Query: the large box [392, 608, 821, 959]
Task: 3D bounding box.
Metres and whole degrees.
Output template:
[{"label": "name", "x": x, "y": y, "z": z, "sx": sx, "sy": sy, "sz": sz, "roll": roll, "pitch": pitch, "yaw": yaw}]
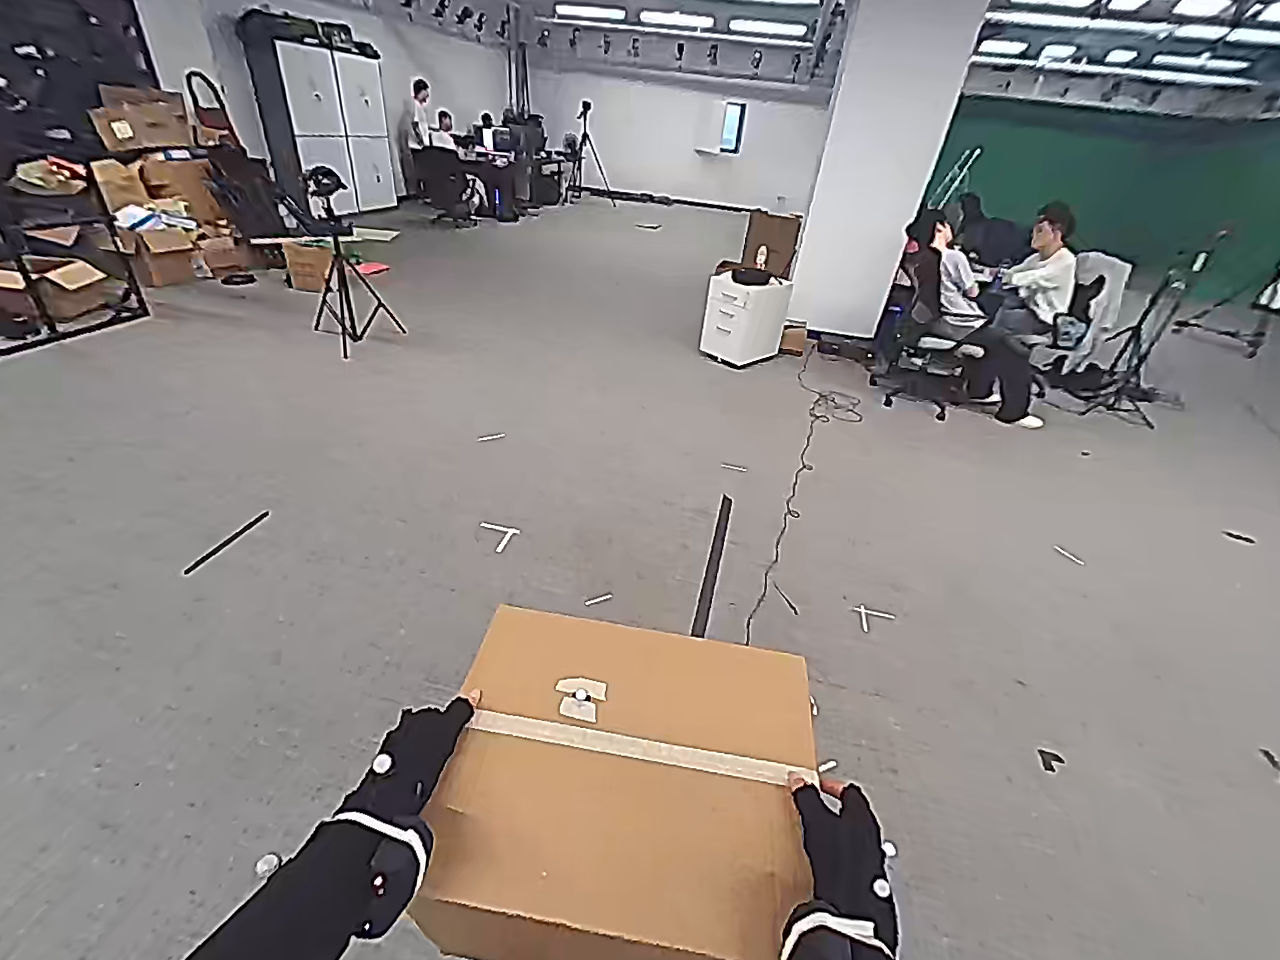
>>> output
[{"label": "large box", "x": -0.023, "y": 0.406, "z": 0.697, "sx": 0.408, "sy": 0.320, "sz": 0.320, "roll": 8, "pitch": 40, "yaw": 4}]
